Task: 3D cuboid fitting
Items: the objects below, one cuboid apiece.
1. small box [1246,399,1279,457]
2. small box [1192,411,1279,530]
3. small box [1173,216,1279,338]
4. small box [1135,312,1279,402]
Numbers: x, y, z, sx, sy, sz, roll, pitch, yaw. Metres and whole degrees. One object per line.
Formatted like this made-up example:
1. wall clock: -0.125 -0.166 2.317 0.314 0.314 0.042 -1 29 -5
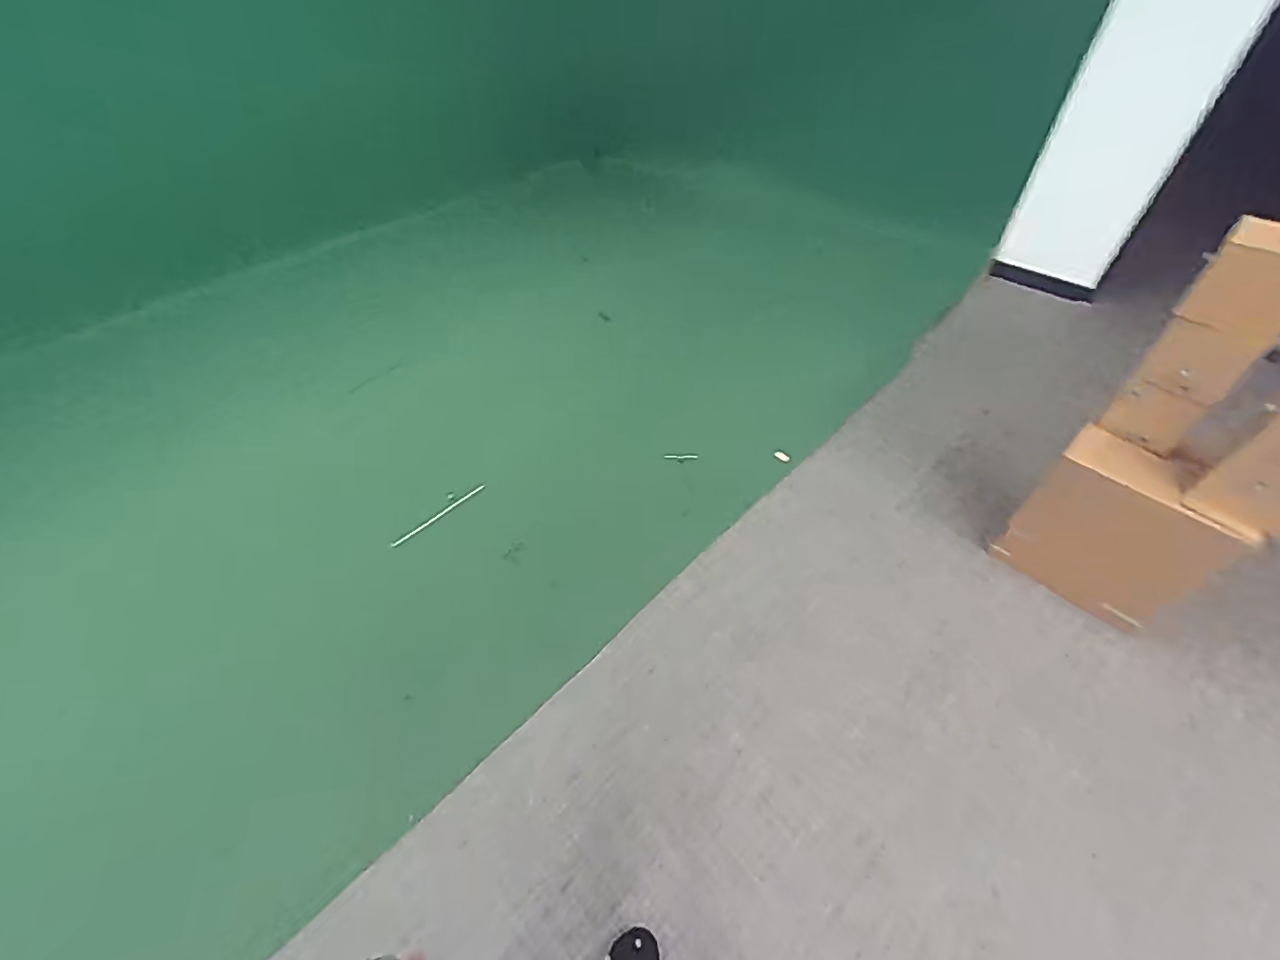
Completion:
1. small box: 1.409 -0.123 1.084 0.168 0.176 0.179 -34 55 -23
2. small box: 1.413 -0.018 1.209 0.168 0.176 0.179 -36 55 -22
3. small box: 1.299 -0.428 1.144 0.168 0.176 0.179 -37 56 -26
4. small box: 1.320 -0.314 1.260 0.179 0.176 0.168 -33 54 -22
